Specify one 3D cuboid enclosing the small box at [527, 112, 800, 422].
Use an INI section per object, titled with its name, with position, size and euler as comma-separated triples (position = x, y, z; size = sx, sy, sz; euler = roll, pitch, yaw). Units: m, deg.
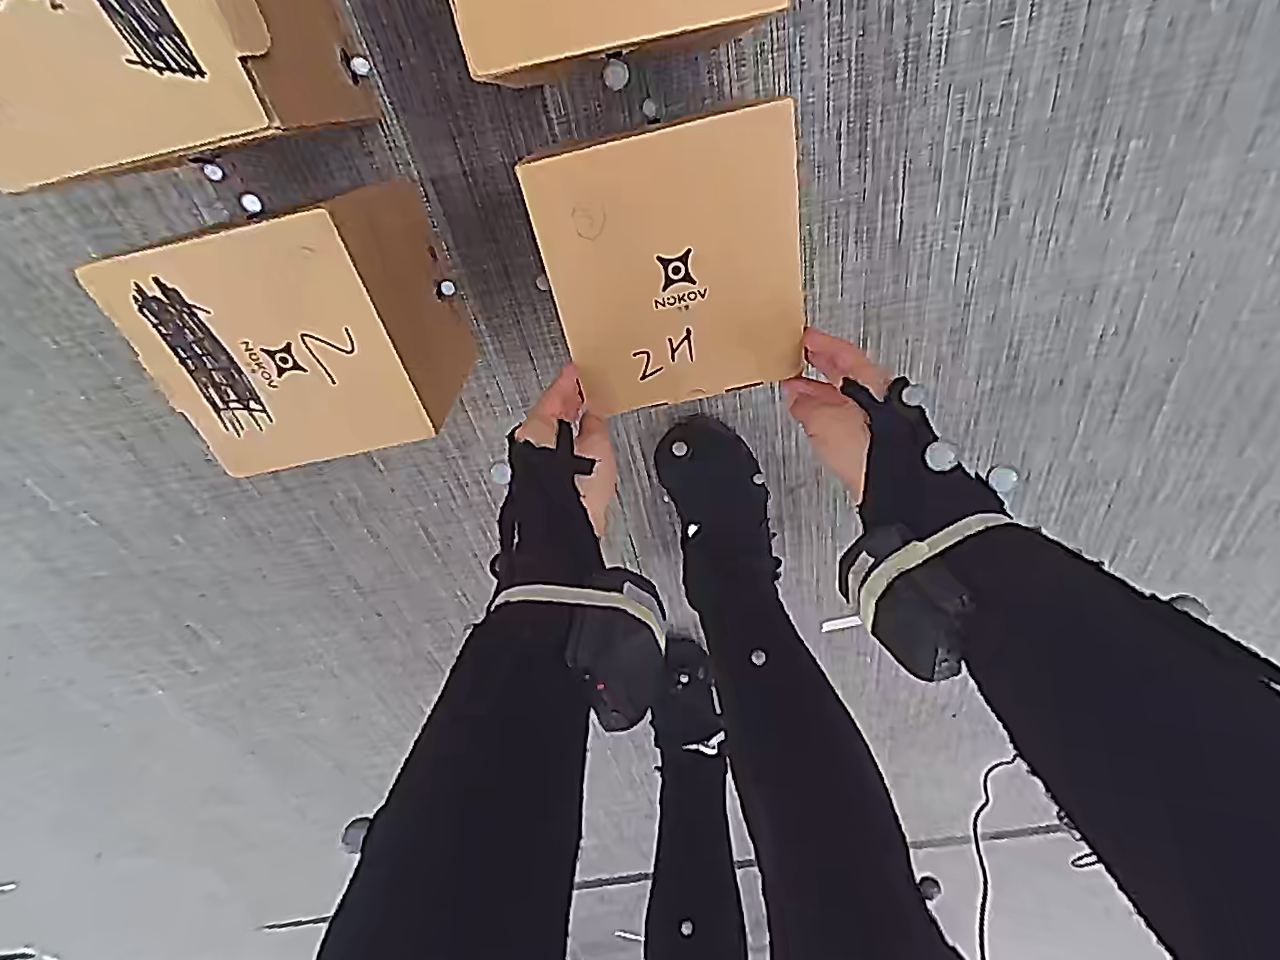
[small box]
position = 0.021, -0.174, 0.433
size = 0.168, 0.176, 0.179
euler = -11, 125, 5
